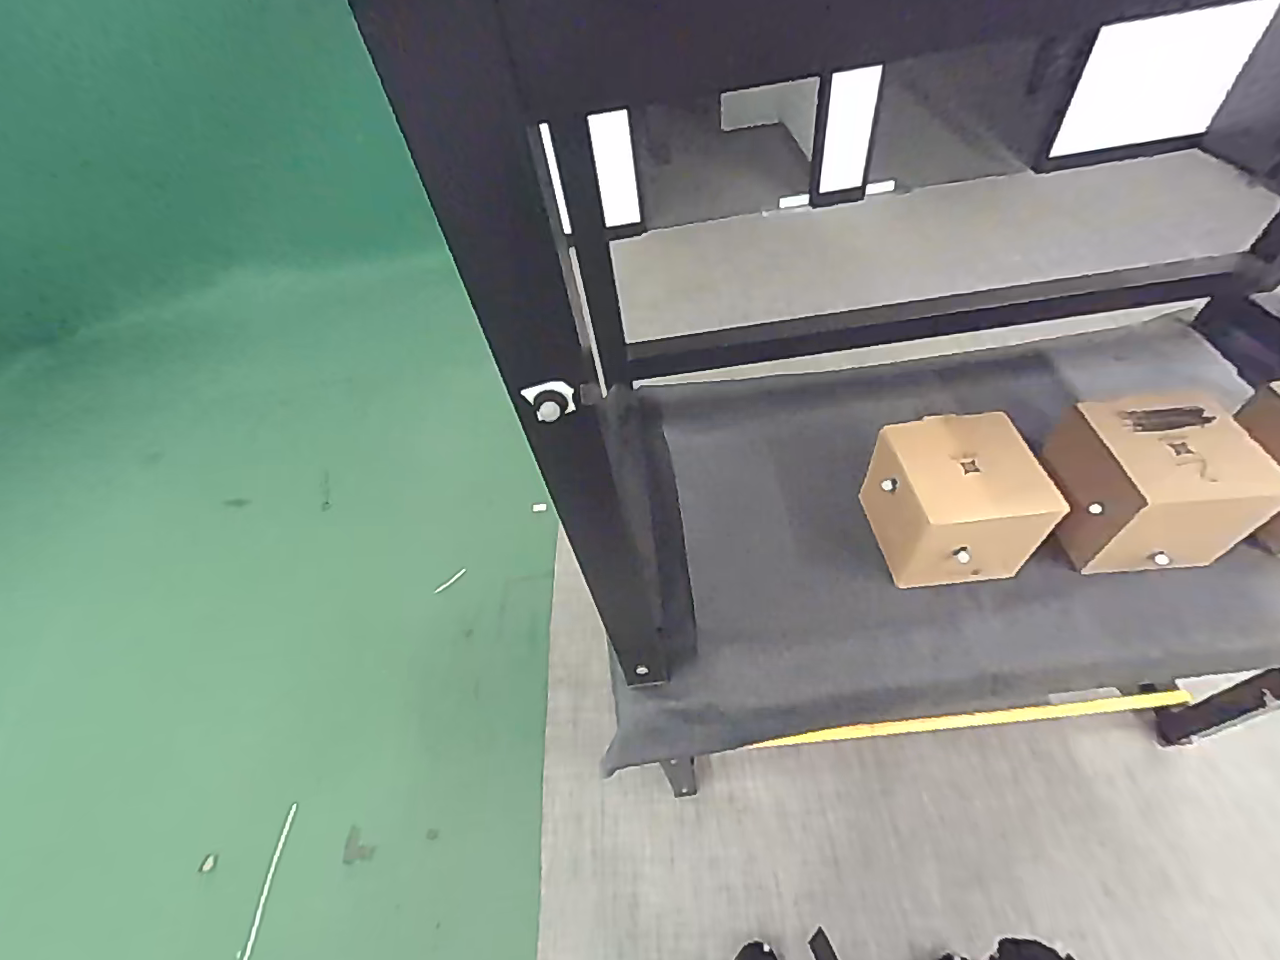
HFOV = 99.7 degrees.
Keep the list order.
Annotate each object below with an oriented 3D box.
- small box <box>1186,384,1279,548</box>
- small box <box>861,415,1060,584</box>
[{"bbox_3d":[0.922,-0.018,0.726,0.168,0.176,0.179,-8,49,3],"label":"small box"},{"bbox_3d":[0.433,0.036,0.768,0.168,0.176,0.179,-7,50,3],"label":"small box"}]
